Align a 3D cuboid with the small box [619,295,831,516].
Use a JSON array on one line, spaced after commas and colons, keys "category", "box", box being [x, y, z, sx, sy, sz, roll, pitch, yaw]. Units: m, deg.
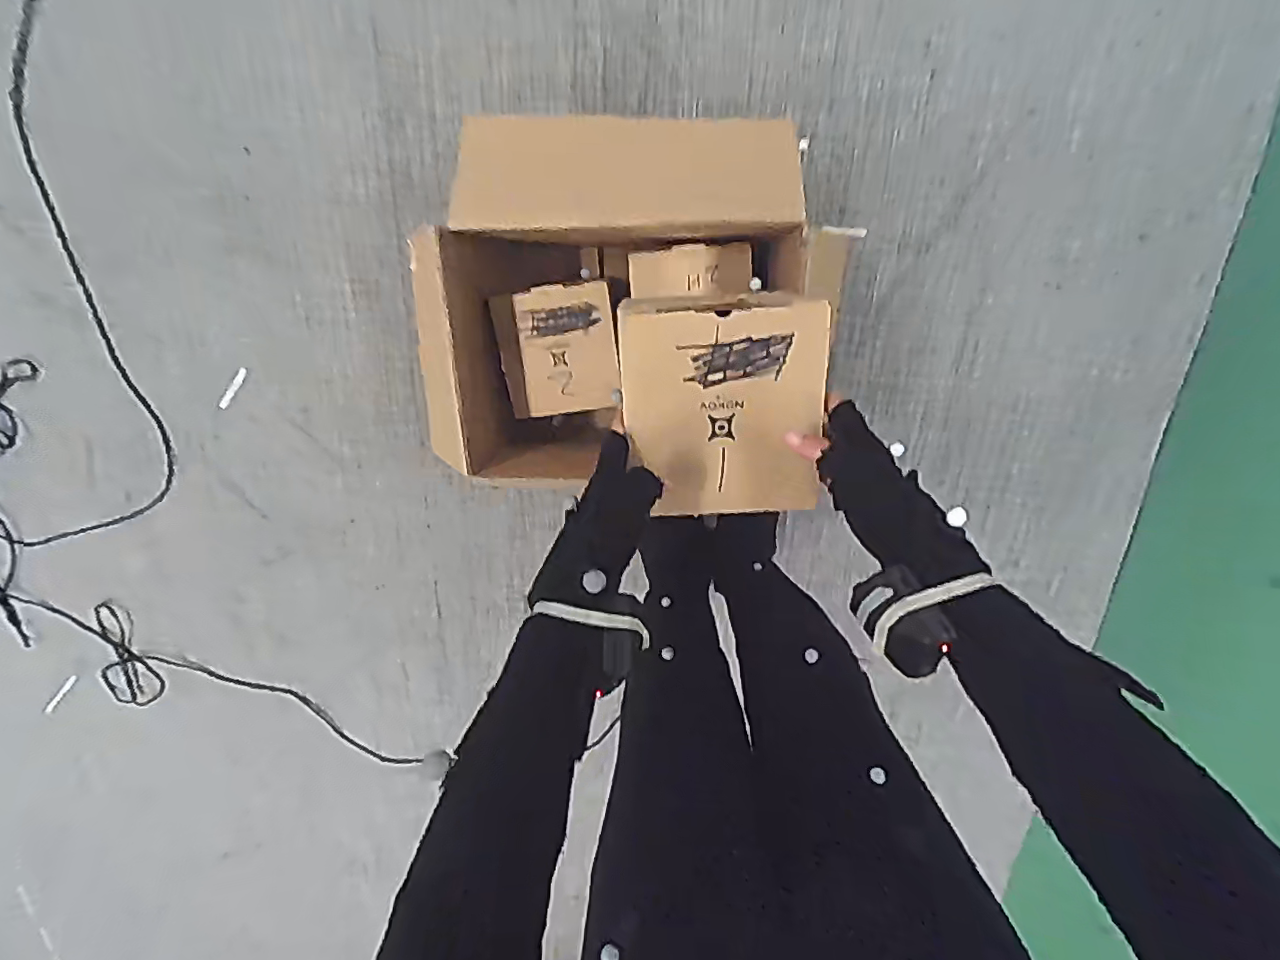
[{"category": "small box", "box": [0.067, -0.080, 0.512, 0.168, 0.176, 0.179, -2, 112, 2]}]
